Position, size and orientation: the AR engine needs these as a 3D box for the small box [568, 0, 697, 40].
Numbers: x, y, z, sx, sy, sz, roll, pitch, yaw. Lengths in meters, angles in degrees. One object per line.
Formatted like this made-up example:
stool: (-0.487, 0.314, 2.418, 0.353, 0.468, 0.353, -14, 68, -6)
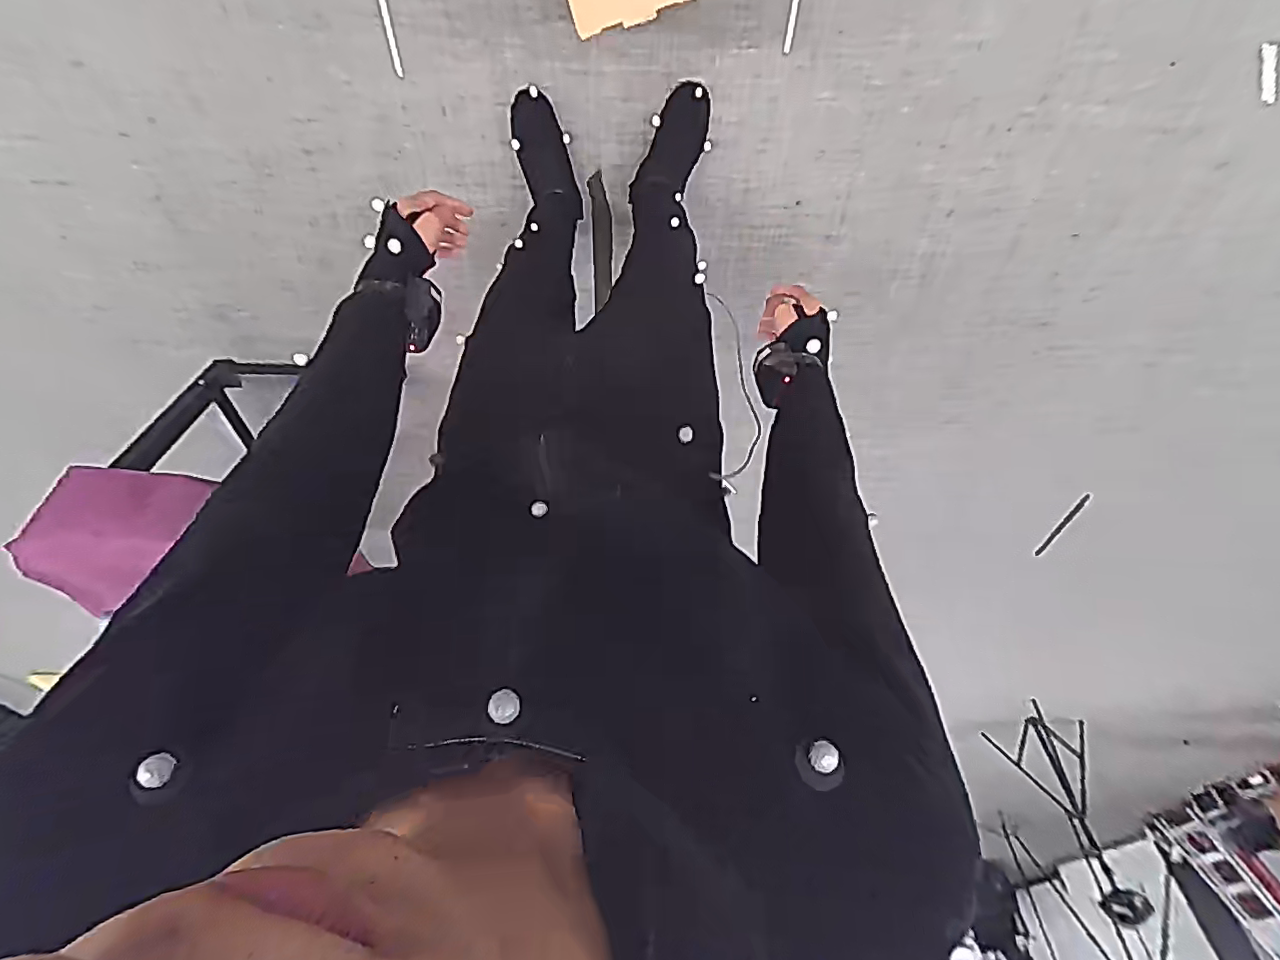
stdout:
small box: (-0.023, -0.707, 0.688, 0.168, 0.176, 0.179, -11, 136, 11)
